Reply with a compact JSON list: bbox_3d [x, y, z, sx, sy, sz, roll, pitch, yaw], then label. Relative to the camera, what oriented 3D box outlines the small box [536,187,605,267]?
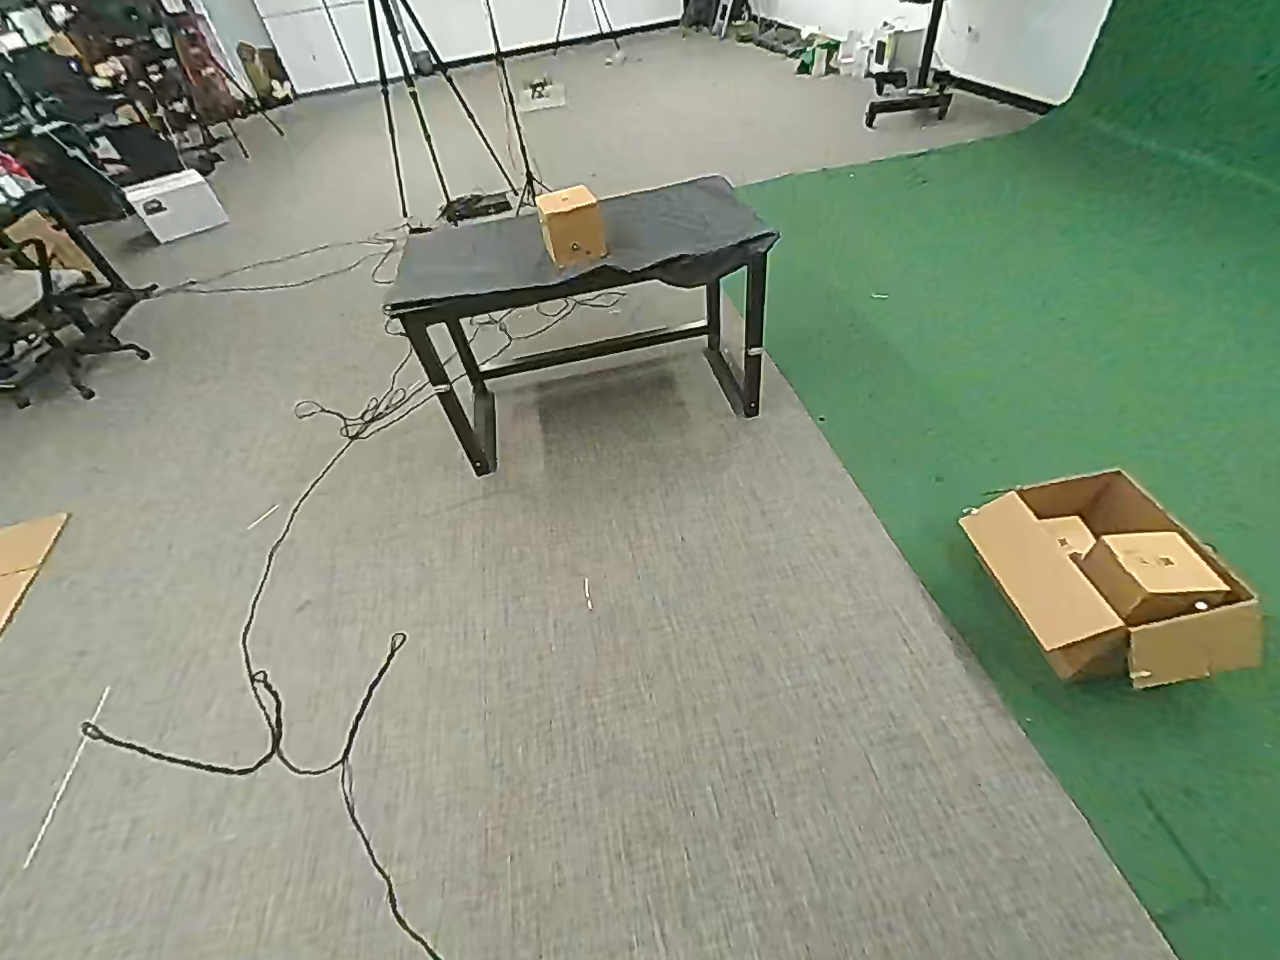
[{"bbox_3d":[-0.221,-0.802,1.719,0.168,0.176,0.179,-18,47,-8],"label":"small box"}]
